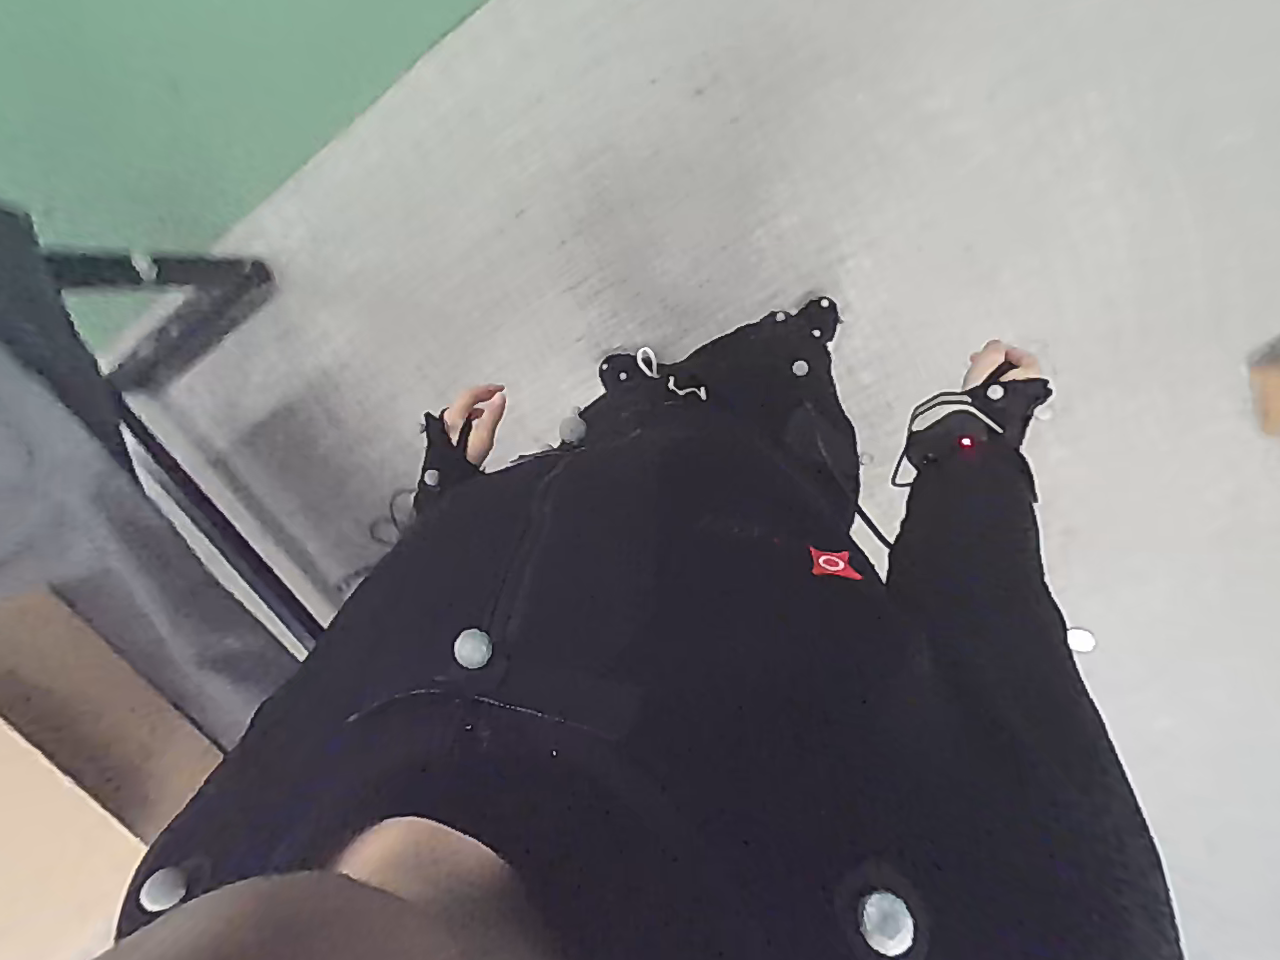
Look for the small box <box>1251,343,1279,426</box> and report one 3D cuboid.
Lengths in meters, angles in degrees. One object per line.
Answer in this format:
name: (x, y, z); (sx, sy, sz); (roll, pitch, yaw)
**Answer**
small box: (1.405, -0.201, 1.091); (0.179, 0.176, 0.168); (-25, 107, 14)
